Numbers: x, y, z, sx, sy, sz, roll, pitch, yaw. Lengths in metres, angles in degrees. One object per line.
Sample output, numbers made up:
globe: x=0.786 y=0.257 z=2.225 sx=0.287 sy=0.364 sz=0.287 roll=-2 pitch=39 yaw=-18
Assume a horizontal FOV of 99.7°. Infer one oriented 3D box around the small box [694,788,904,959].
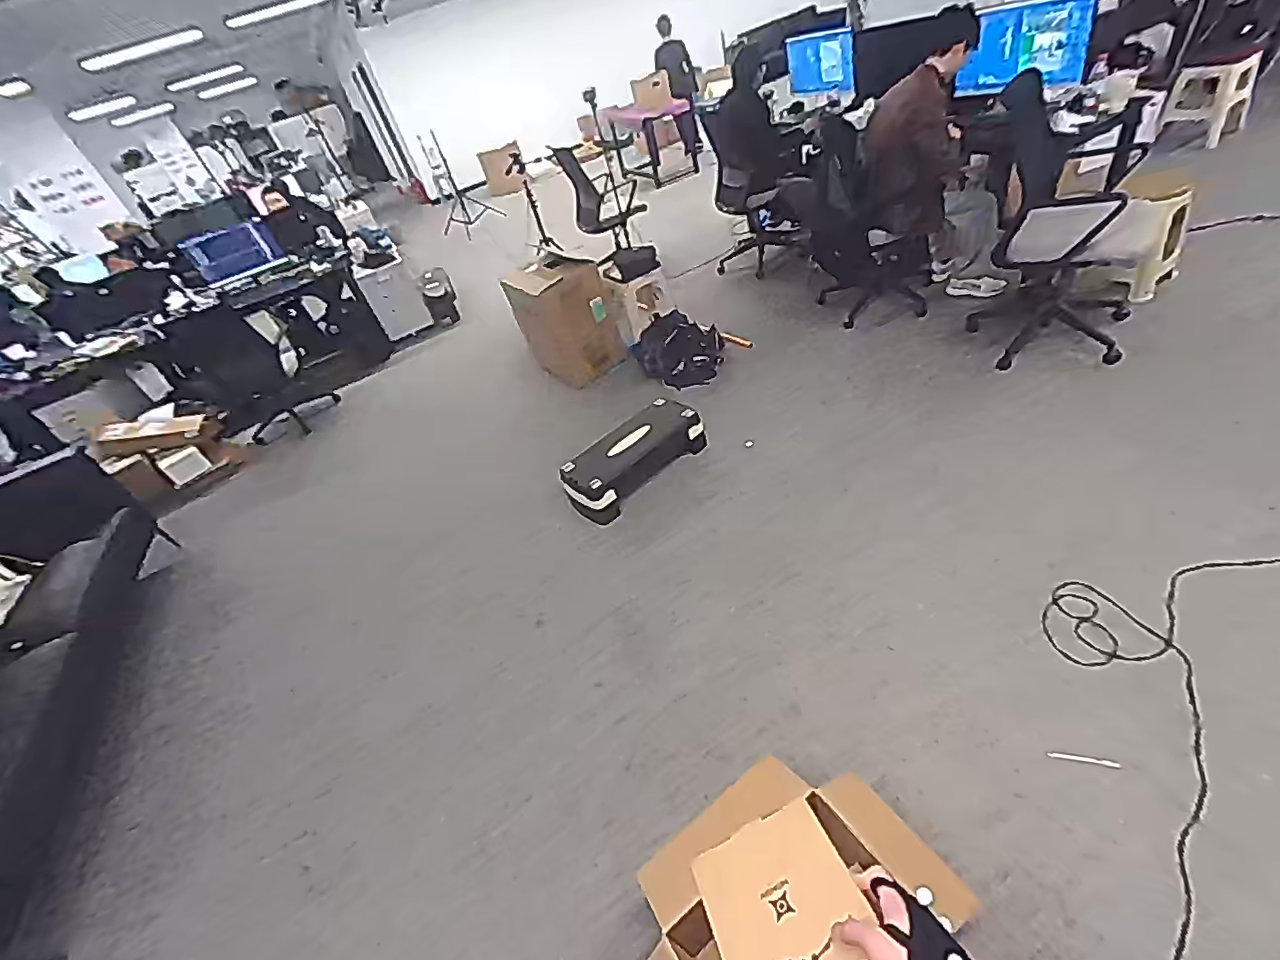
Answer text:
small box: x=0.188 y=0.520 z=0.633 sx=0.168 sy=0.176 sz=0.179 roll=-28 pitch=24 yaw=-4
